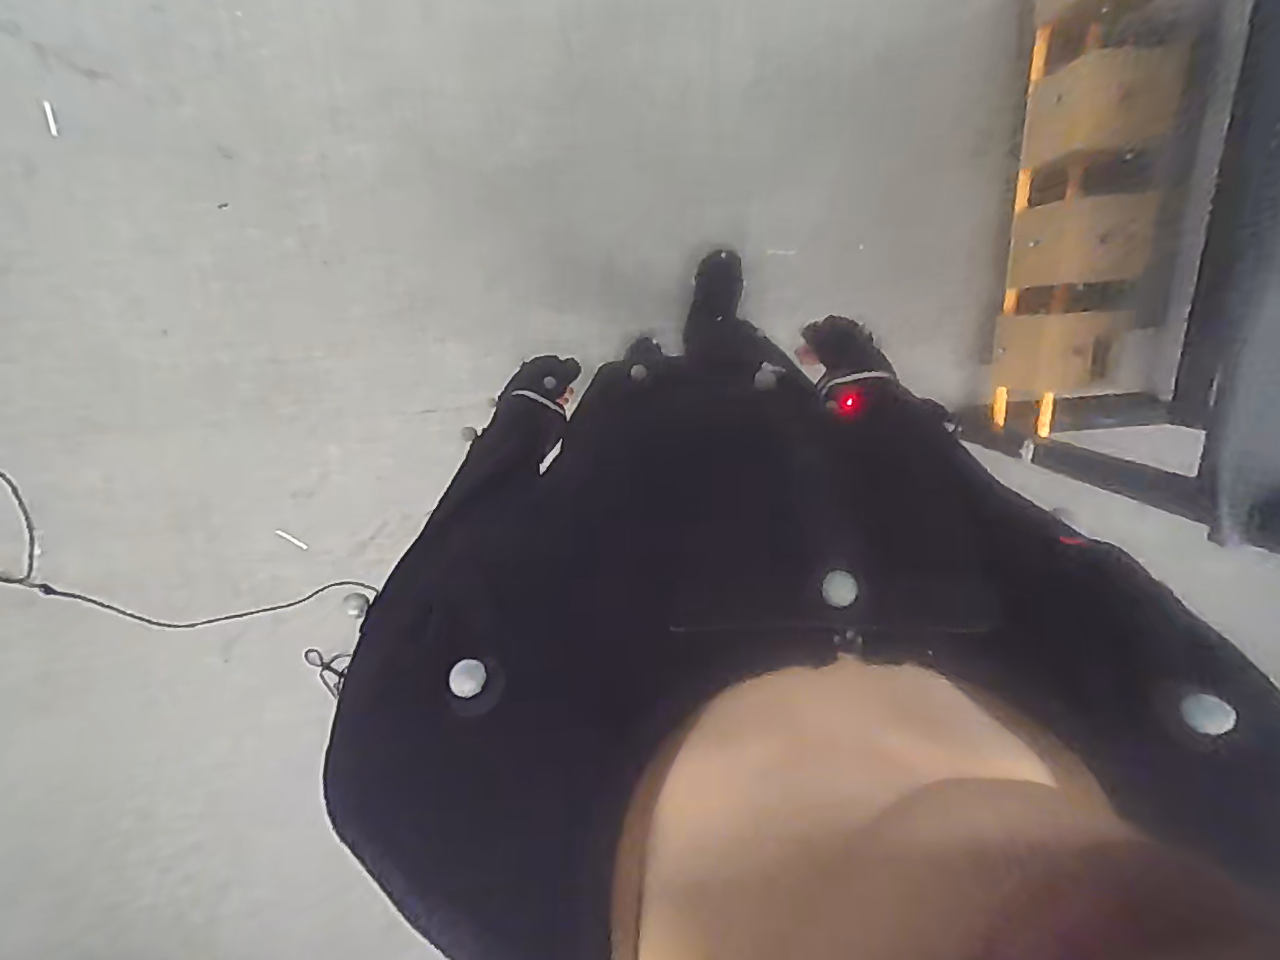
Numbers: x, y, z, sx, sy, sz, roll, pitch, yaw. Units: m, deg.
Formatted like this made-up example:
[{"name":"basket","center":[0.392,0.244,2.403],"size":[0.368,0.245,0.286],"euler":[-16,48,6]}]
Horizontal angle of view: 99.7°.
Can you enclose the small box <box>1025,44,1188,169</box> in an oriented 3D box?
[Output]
[{"name":"small box","center":[0.931,-0.746,1.100],"size":[0.179,0.176,0.168],"euler":[-3,107,1]}]

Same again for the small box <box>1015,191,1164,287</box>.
[{"name":"small box","center":[0.954,-0.511,1.167],"size":[0.179,0.176,0.168],"euler":[-4,108,1]}]
